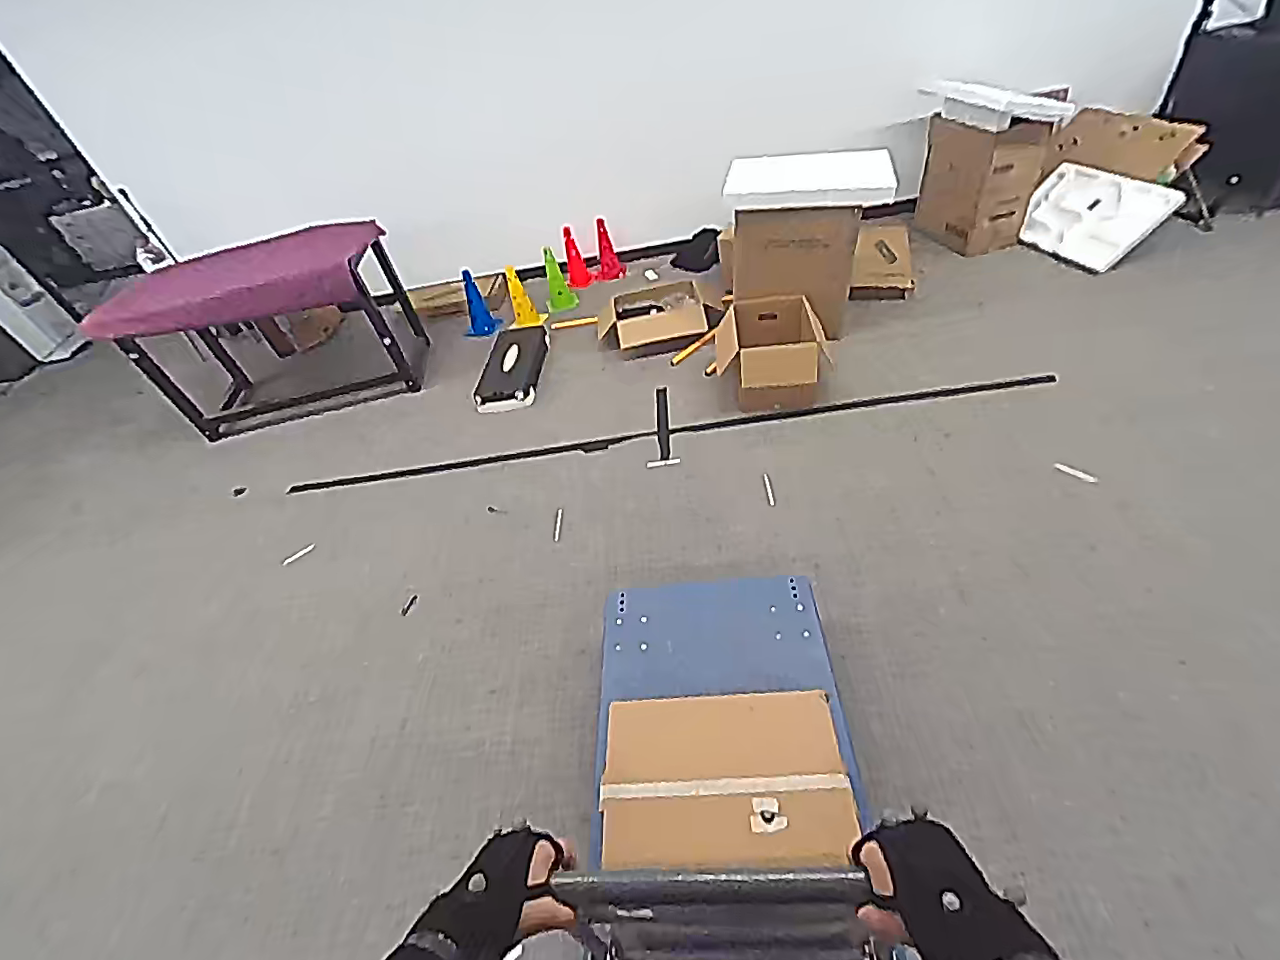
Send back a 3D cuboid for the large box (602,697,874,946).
[{"bbox_3d":[0.157,0.628,0.992,0.408,0.320,0.320,-6,44,6],"label":"large box"}]
